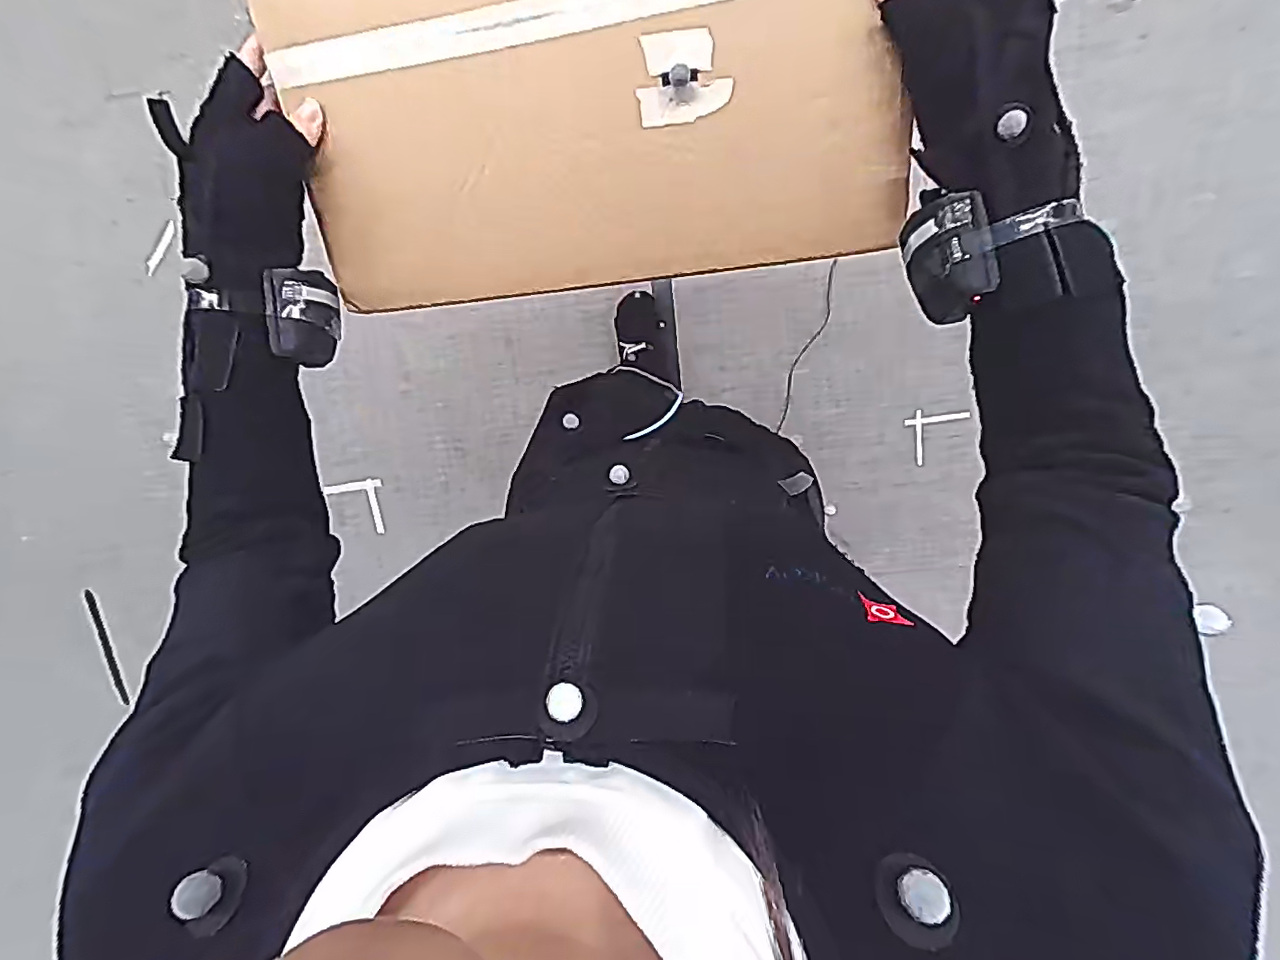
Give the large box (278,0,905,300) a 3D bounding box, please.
[{"bbox_3d":[-0.025,-0.355,0.478,0.408,0.320,0.320,-4,113,9],"label":"large box"}]
